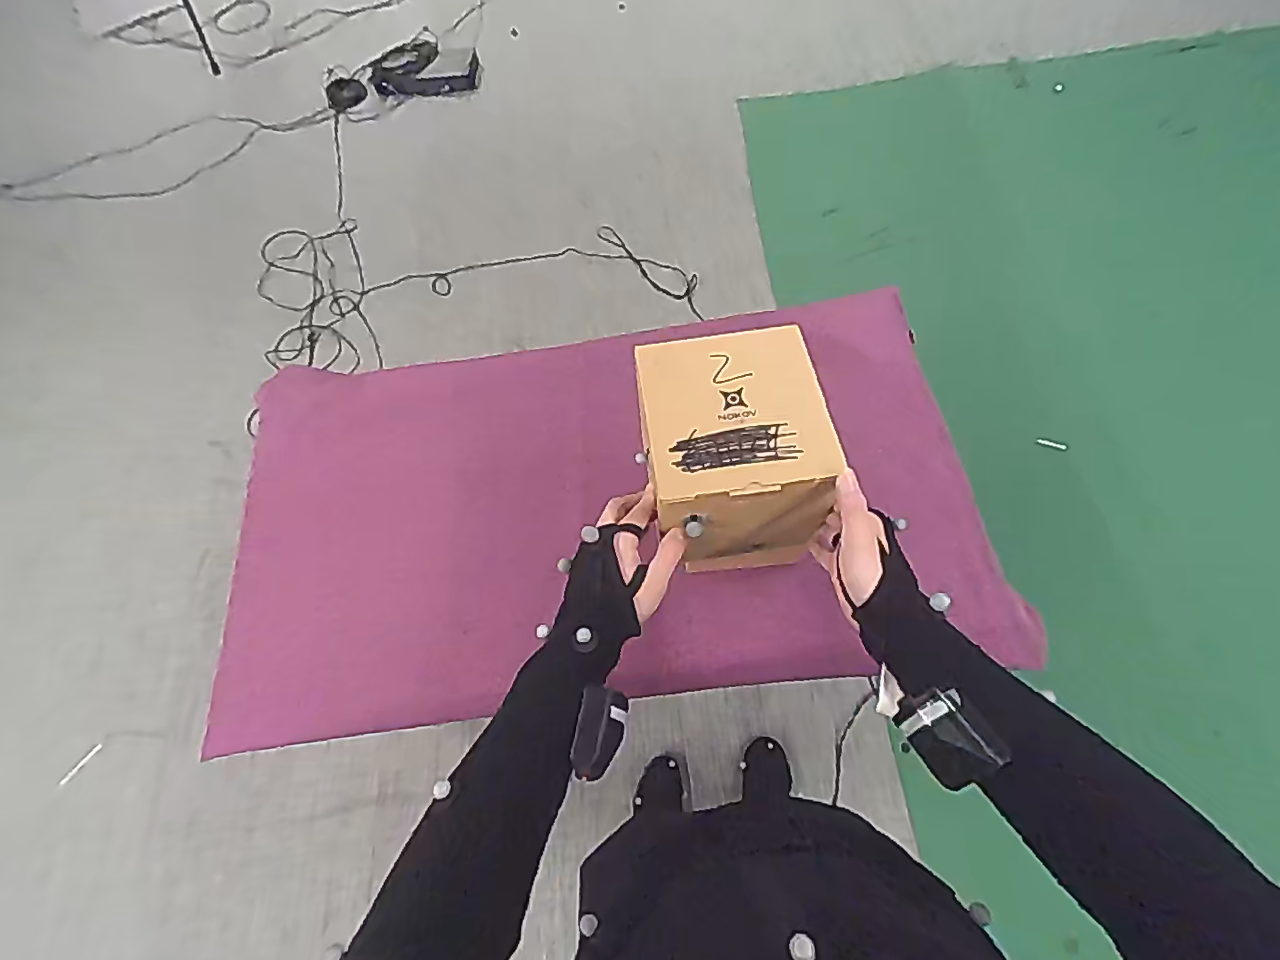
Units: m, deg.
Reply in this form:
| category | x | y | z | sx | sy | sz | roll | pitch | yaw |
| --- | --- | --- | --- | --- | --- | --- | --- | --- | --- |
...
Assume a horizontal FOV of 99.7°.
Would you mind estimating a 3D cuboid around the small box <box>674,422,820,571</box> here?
| category | x | y | z | sx | sy | sz | roll | pitch | yaw |
| --- | --- | --- | --- | --- | --- | --- | --- | --- | --- |
| small box | 0.147 | 0.033 | 0.798 | 0.179 | 0.176 | 0.168 | -5 | 67 | 3 |
